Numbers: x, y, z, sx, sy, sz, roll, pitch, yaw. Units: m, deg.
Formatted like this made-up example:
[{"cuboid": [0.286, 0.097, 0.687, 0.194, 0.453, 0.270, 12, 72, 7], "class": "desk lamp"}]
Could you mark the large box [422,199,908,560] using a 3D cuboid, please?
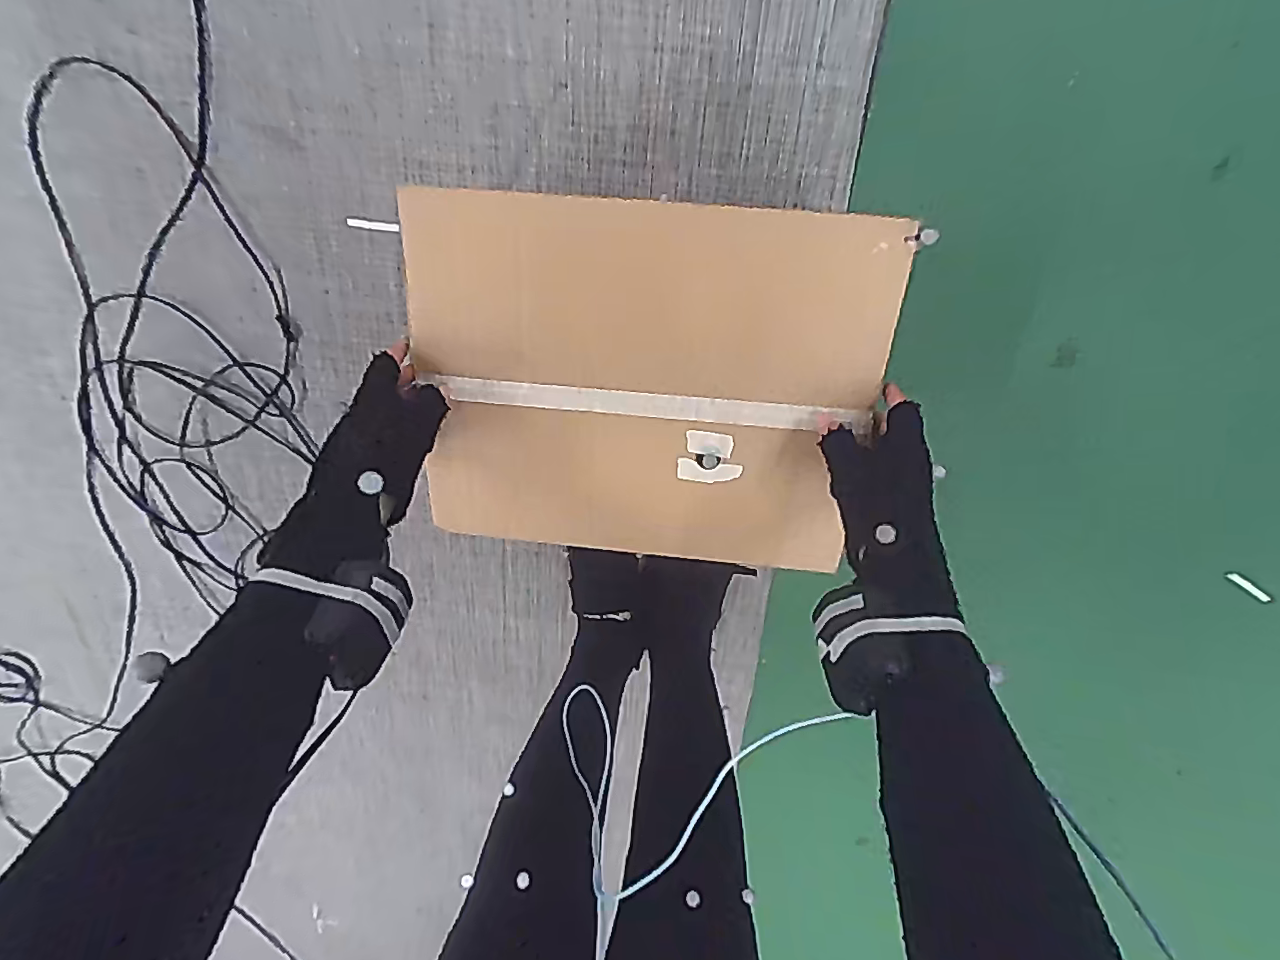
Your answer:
[{"cuboid": [0.018, -0.130, 0.629, 0.408, 0.320, 0.320, 5, 113, 3], "class": "large box"}]
